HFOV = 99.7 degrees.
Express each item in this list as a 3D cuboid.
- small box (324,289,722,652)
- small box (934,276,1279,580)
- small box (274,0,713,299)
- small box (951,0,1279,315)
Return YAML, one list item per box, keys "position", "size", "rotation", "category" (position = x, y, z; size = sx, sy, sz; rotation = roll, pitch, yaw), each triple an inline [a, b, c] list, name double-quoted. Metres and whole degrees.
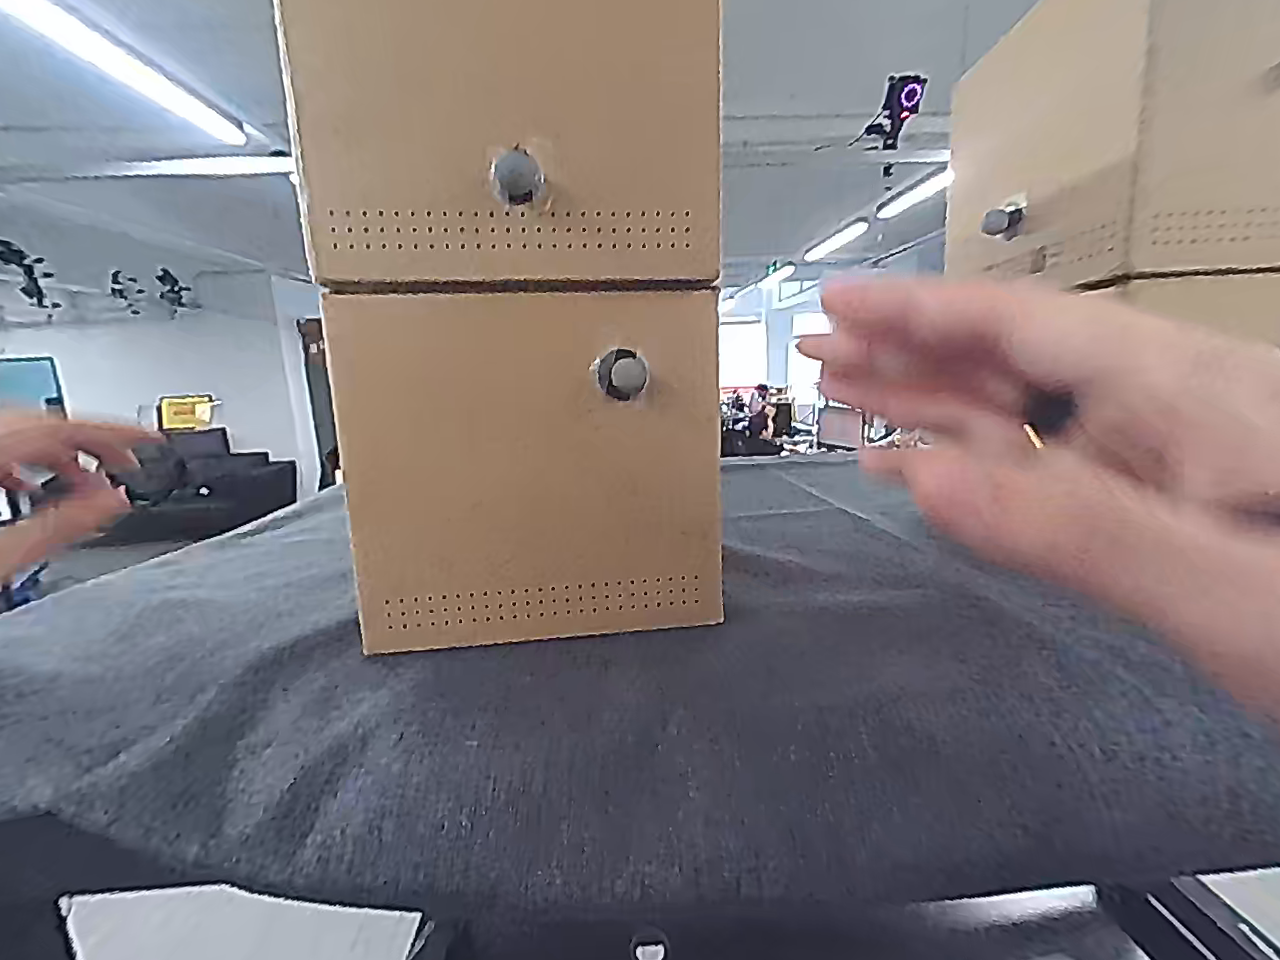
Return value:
- position: [-0.055, -0.013, 0.329]
  size: [0.179, 0.176, 0.168]
  rotation: [-4, 9, -7]
  category: "small box"
- position: [0.326, -0.035, 0.368]
  size: [0.168, 0.176, 0.179]
  rotation: [-2, 10, 1]
  category: "small box"
- position: [-0.061, -0.174, 0.296]
  size: [0.179, 0.176, 0.168]
  rotation: [-2, 9, -5]
  category: "small box"
- position: [0.317, -0.196, 0.330]
  size: [0.179, 0.176, 0.168]
  rotation: [-4, 9, 1]
  category: "small box"
